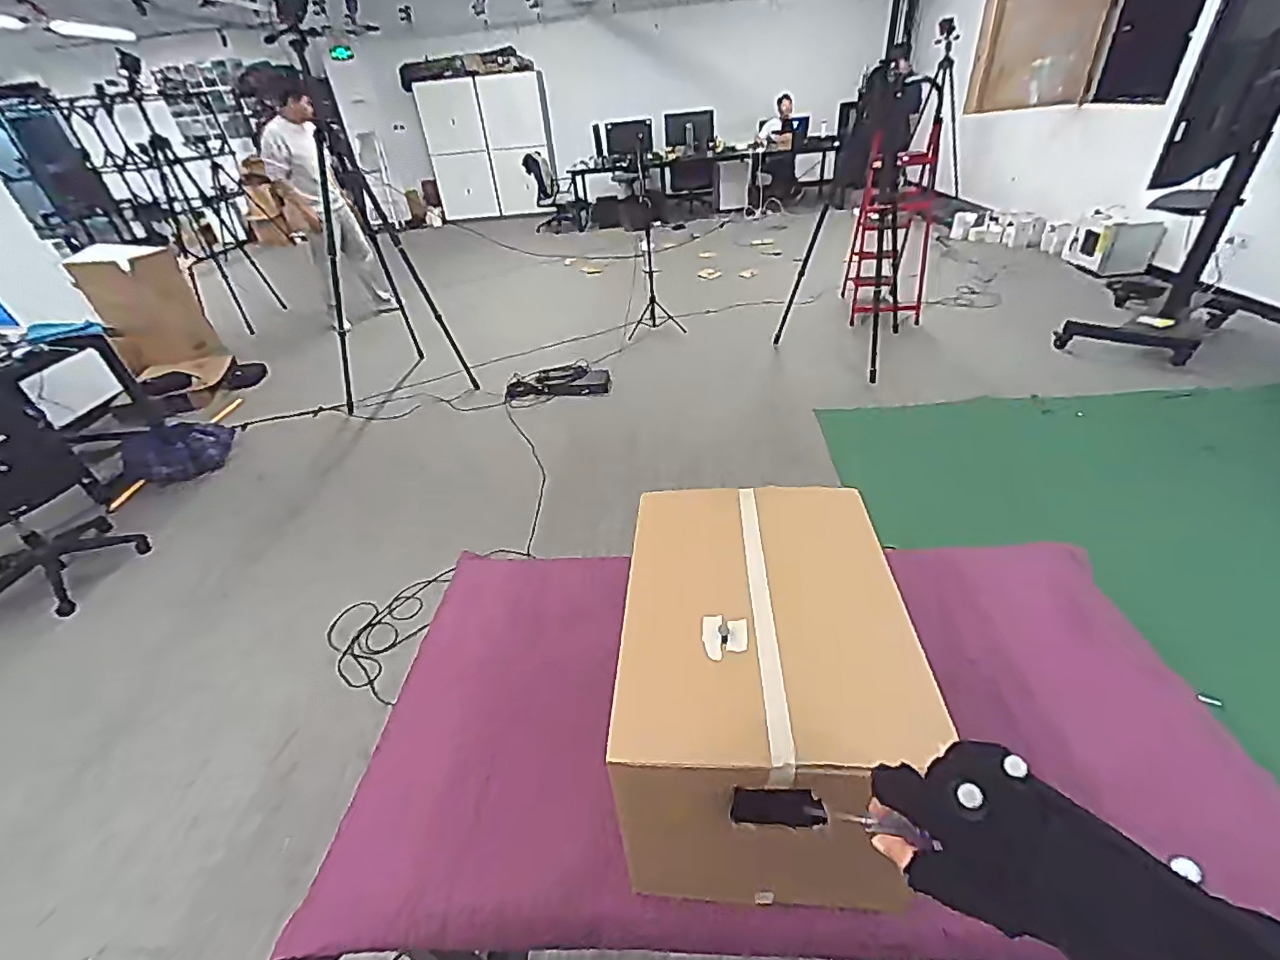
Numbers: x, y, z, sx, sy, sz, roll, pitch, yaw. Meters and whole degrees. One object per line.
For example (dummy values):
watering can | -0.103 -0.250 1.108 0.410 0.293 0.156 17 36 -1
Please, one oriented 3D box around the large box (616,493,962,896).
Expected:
large box | 0.151 0.259 0.728 0.320 0.320 0.408 -1 36 7
